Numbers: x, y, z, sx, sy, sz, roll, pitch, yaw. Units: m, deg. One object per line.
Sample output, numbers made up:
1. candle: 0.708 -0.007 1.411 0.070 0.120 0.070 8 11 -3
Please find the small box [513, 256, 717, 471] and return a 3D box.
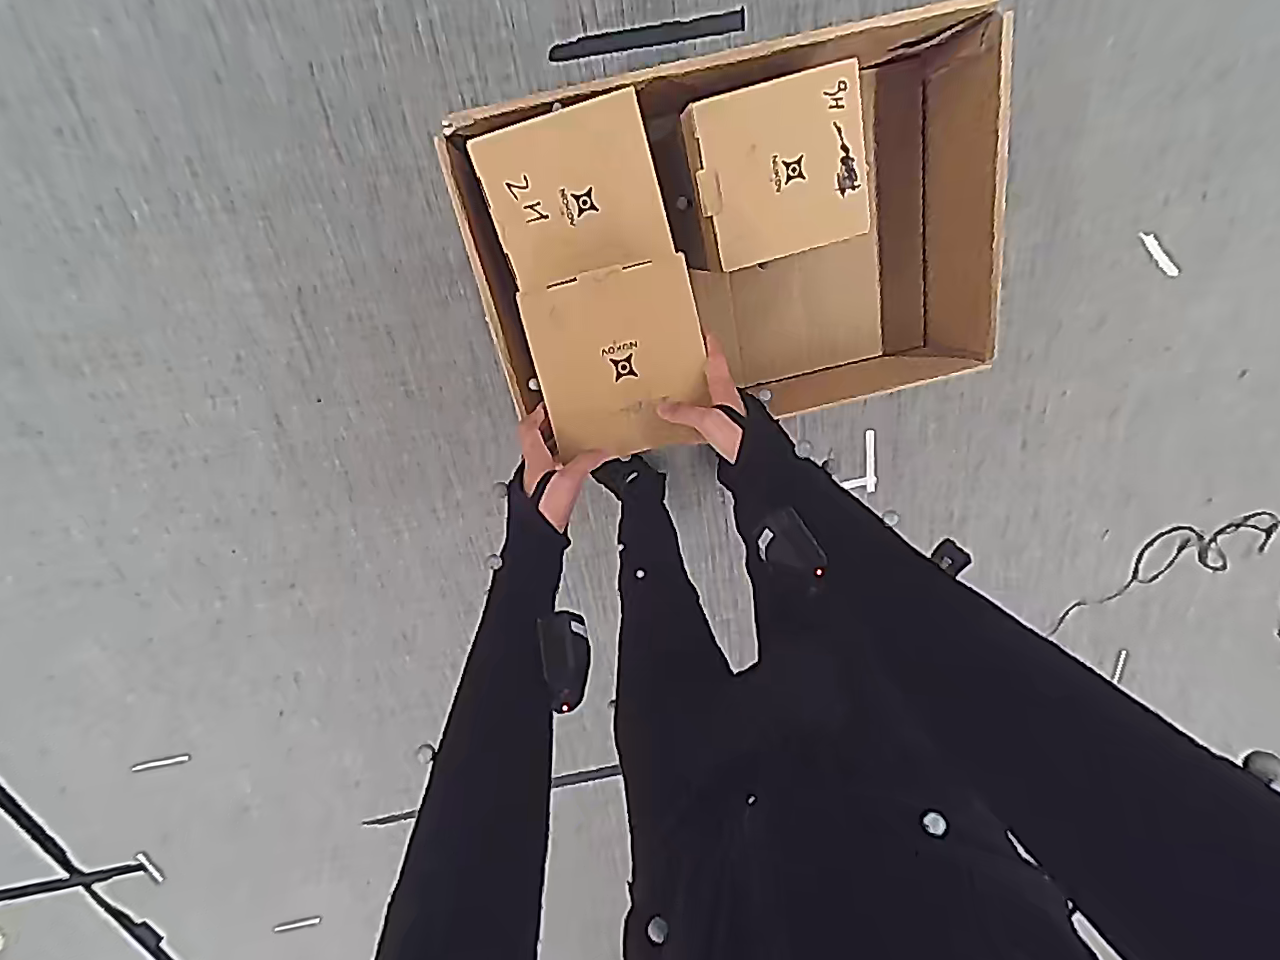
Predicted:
1. small box: -0.028 -0.120 0.597 0.168 0.176 0.179 -15 99 -2
